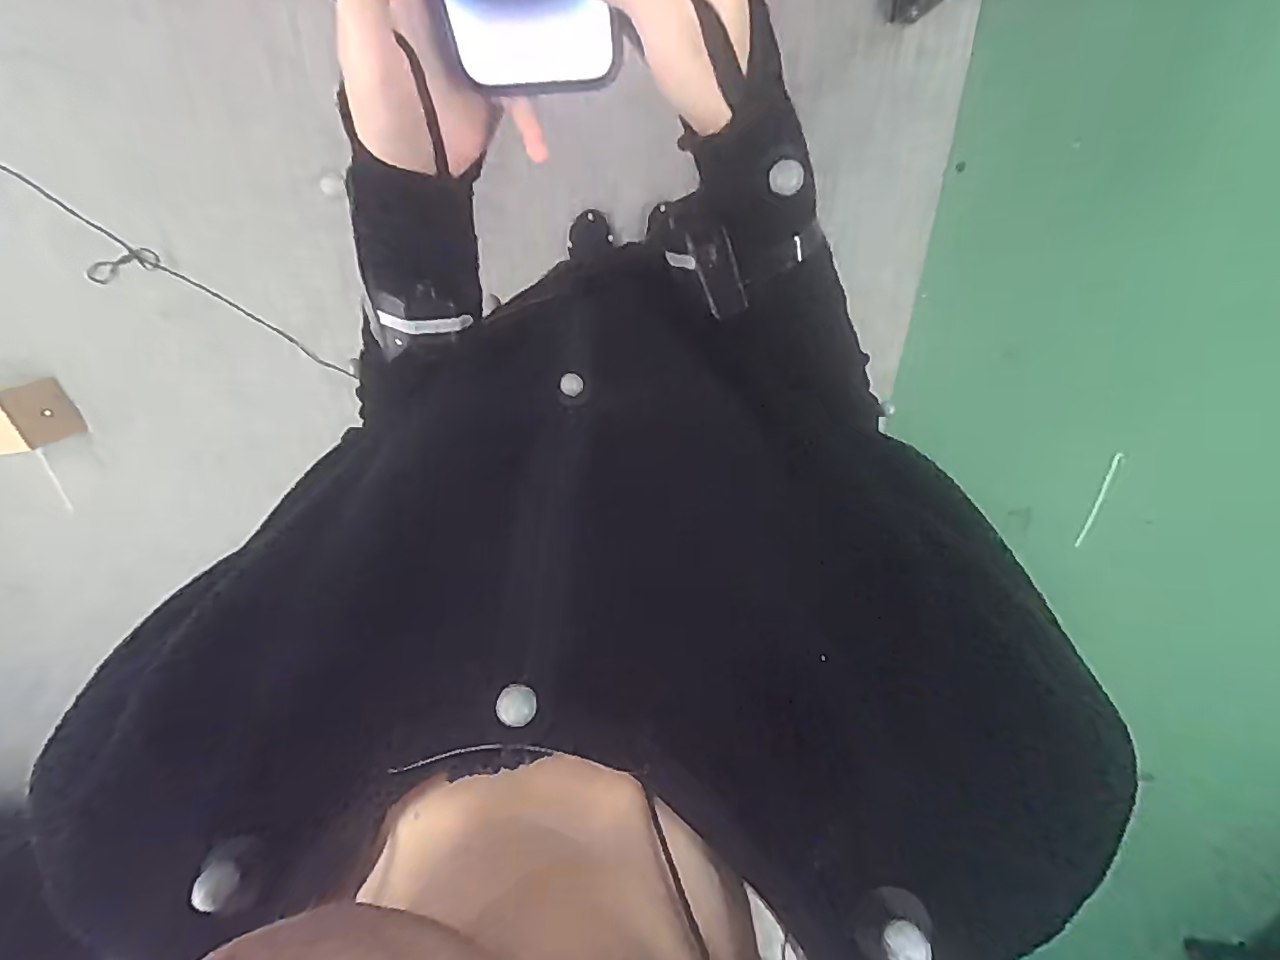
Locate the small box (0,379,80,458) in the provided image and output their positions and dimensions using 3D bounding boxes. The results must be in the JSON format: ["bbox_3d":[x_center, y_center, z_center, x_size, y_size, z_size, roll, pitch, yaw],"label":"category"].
[{"bbox_3d":[-1.721,-0.171,1.491,0.179,0.176,0.168,-5,117,5],"label":"small box"}]
